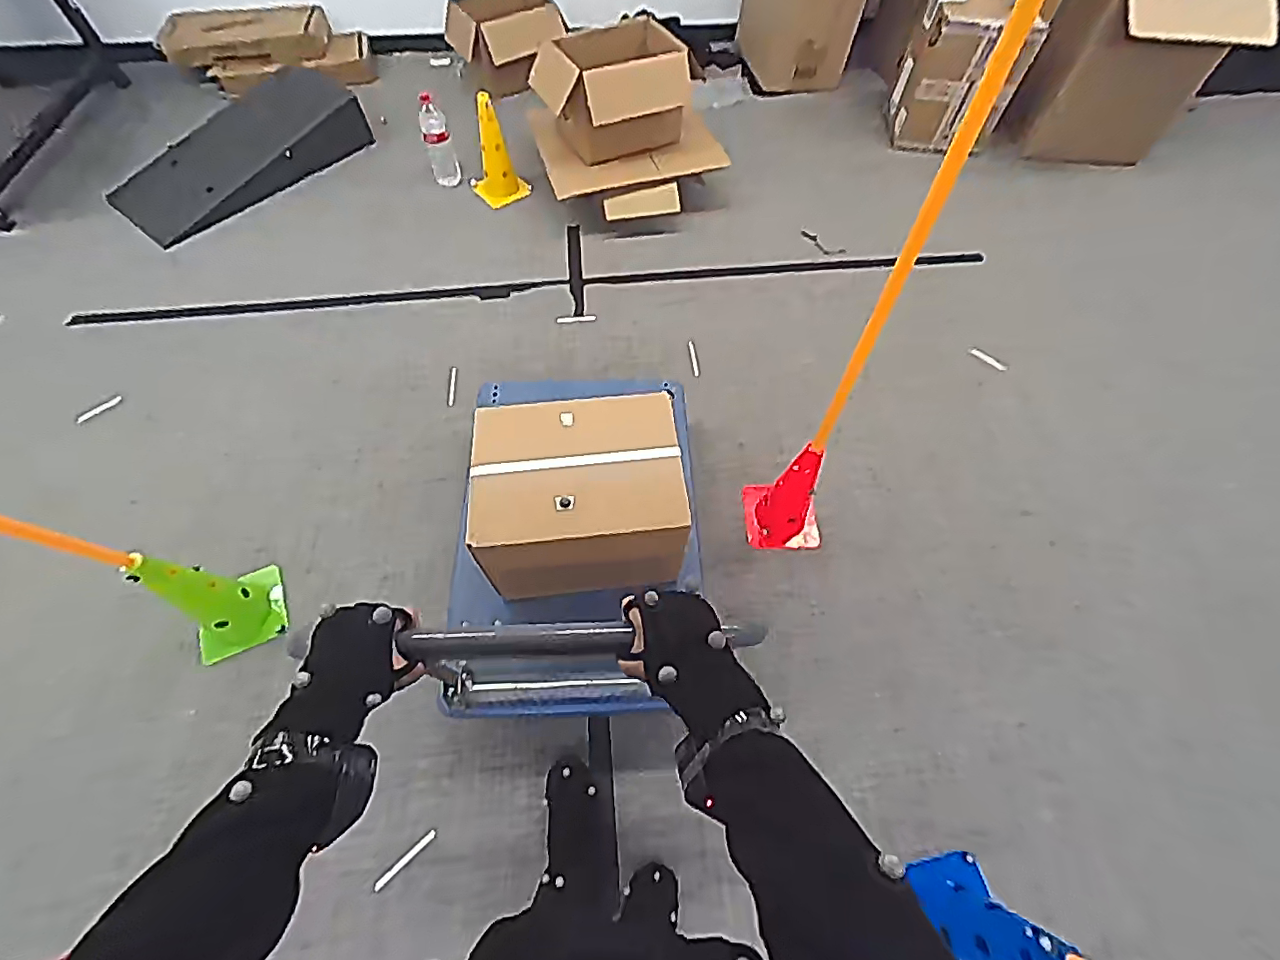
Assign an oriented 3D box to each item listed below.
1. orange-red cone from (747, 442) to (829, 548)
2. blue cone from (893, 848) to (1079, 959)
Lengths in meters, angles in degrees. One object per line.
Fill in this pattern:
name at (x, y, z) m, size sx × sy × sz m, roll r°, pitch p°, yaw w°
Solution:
orange-red cone at (0.408, 0.014, 1.376) m, size 0.199 × 0.360 × 0.198 m, roll 1°, pitch 61°, yaw -1°
blue cone at (0.630, 0.788, 0.950) m, size 0.193 × 0.380 × 0.192 m, roll -8°, pitch 59°, yaw -6°
